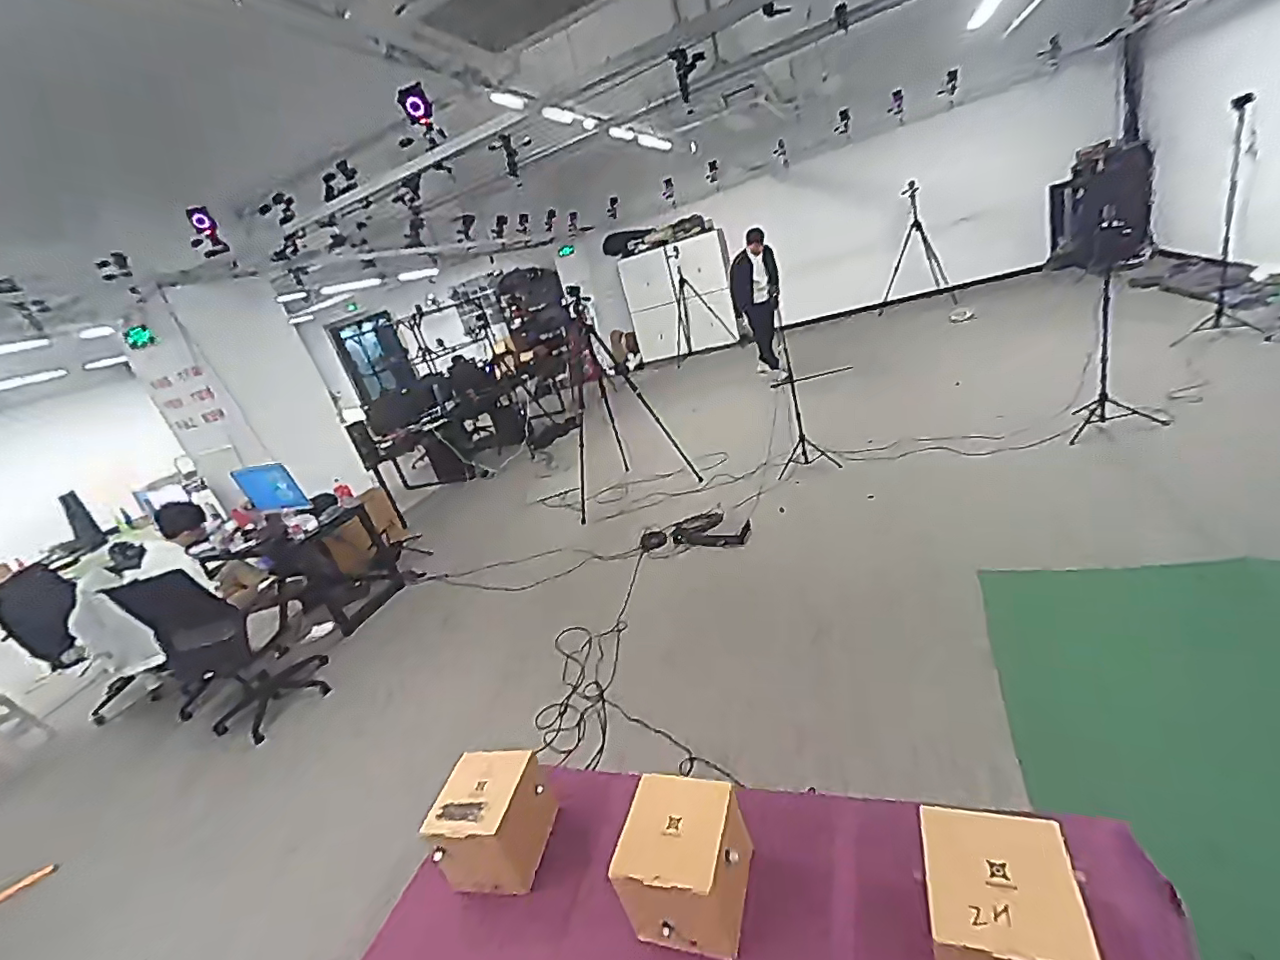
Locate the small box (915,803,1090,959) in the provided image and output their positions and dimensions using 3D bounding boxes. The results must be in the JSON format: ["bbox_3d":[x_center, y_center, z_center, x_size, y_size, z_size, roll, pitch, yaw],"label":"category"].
[{"bbox_3d":[0.465,0.572,0.712,0.168,0.176,0.179,-7,24,25],"label":"small box"}]

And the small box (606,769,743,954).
[{"bbox_3d":[0.067,0.621,0.894,0.168,0.176,0.179,-6,25,24],"label":"small box"}]
